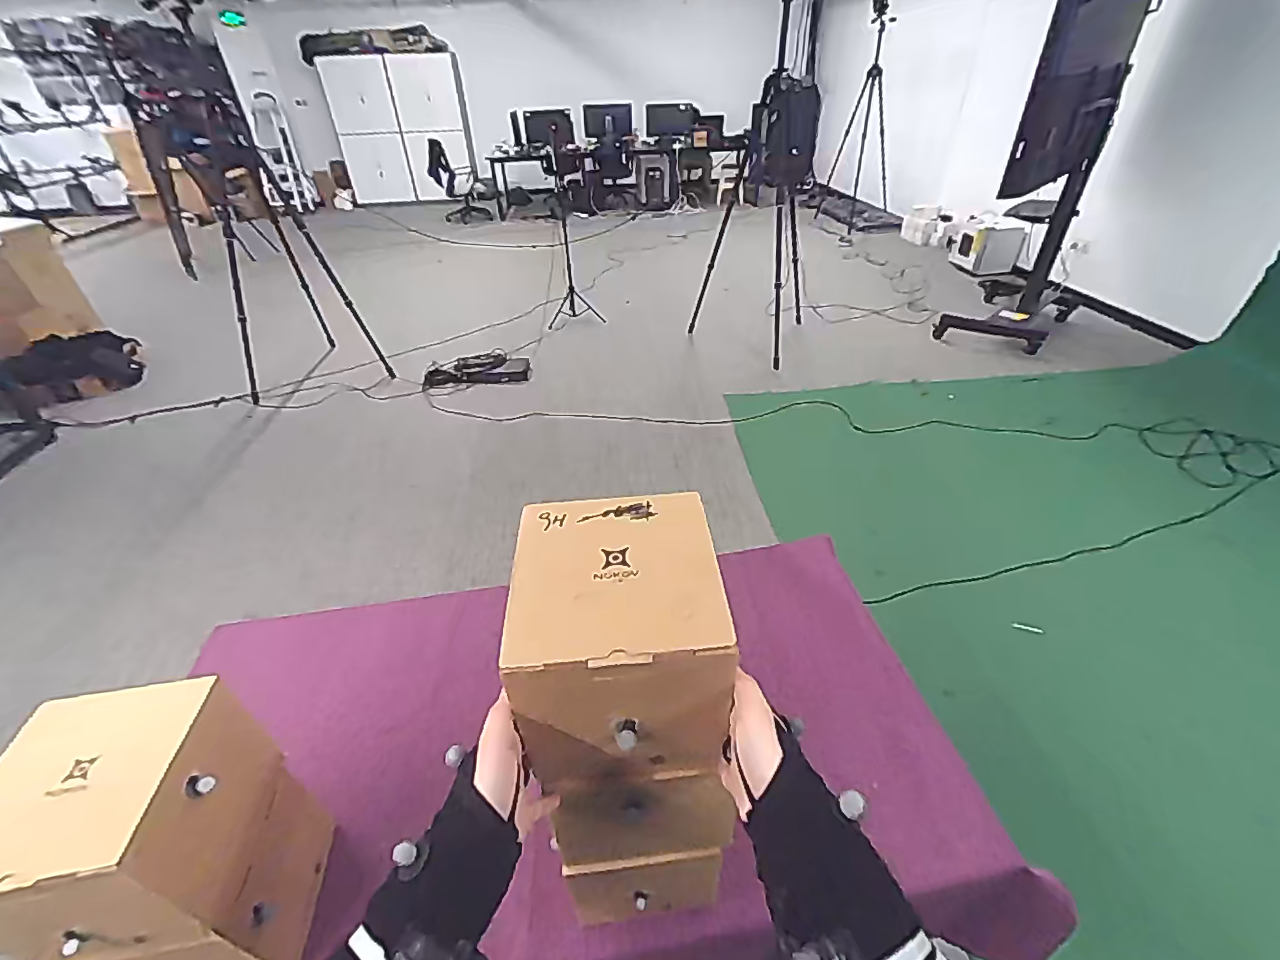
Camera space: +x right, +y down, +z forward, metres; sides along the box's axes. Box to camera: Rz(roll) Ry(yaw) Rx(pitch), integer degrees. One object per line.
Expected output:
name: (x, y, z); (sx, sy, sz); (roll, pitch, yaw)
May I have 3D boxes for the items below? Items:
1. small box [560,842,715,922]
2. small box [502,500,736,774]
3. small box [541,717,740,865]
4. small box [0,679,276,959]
small box: (-0.006, 0.414, 0.668); (0.168, 0.176, 0.179); (-4, 37, -4)
small box: (-0.015, 0.141, 0.481); (0.168, 0.176, 0.179); (-4, 39, -2)
small box: (-0.002, 0.280, 0.573); (0.179, 0.176, 0.168); (-4, 37, -4)
small box: (-0.496, 0.328, 0.529); (0.168, 0.176, 0.179); (-7, 37, -6)
